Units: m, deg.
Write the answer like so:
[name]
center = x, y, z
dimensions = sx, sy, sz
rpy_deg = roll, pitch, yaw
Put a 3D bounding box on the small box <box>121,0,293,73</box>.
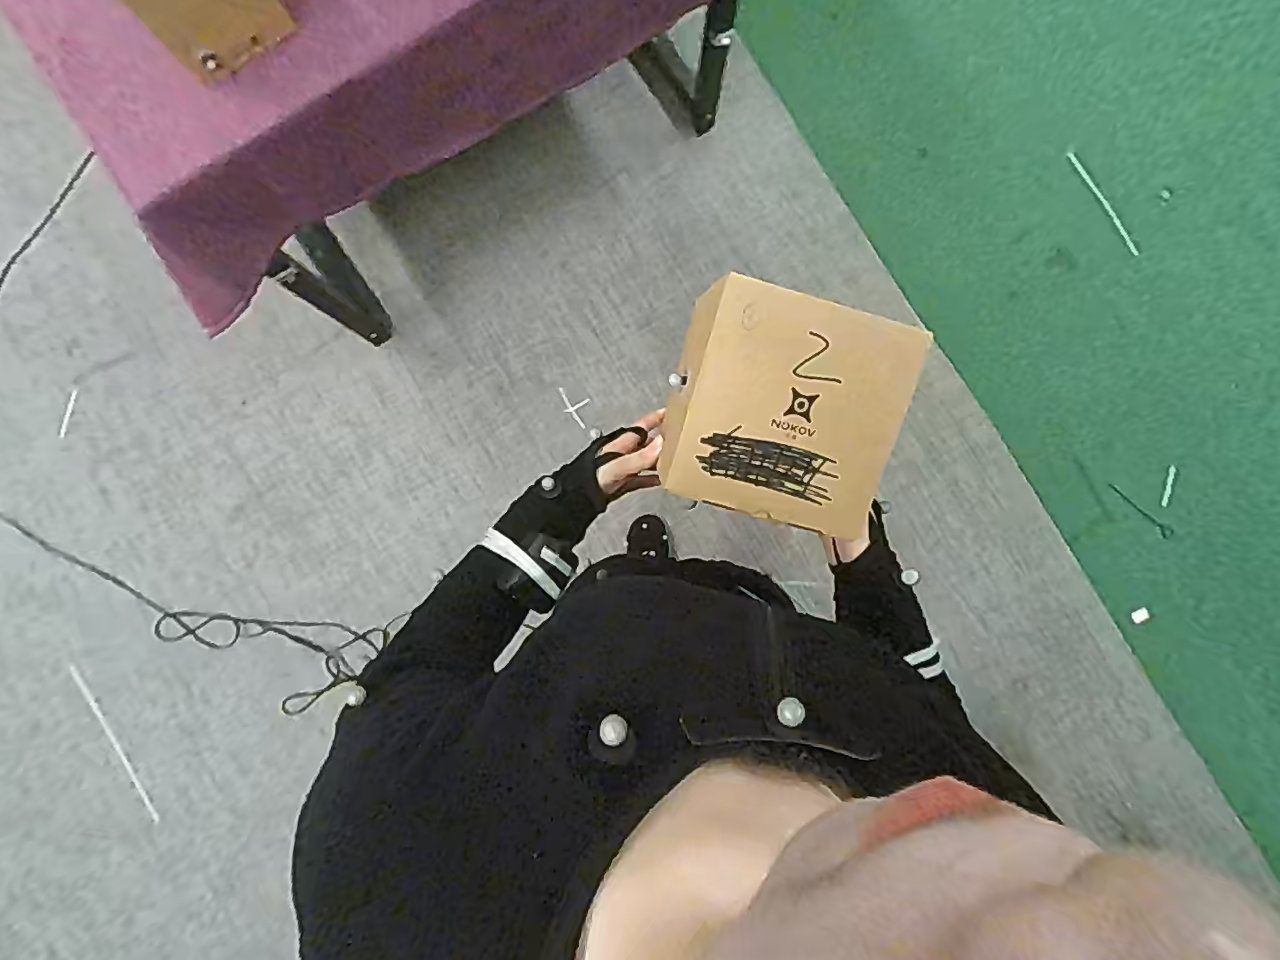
[small box]
center = -0.633, -0.714, 0.746
dimensions = 0.168, 0.176, 0.179
rpy_deg = -35, 86, -3
